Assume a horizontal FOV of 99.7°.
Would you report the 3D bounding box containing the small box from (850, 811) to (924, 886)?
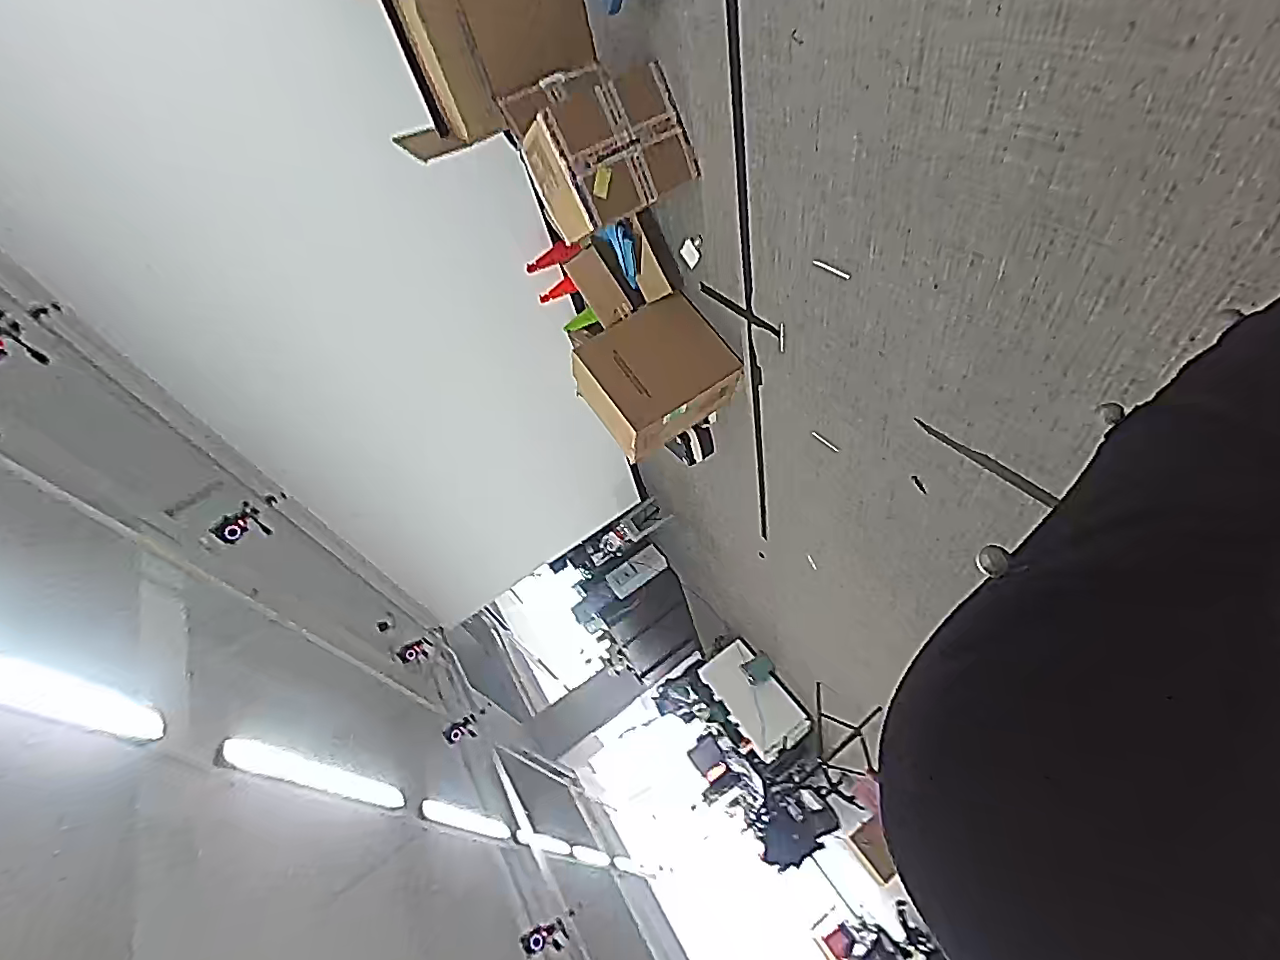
[{"bbox_3d":[0.920,1.373,2.021,0.179,0.176,0.168,47,164,37],"label":"small box"}]
